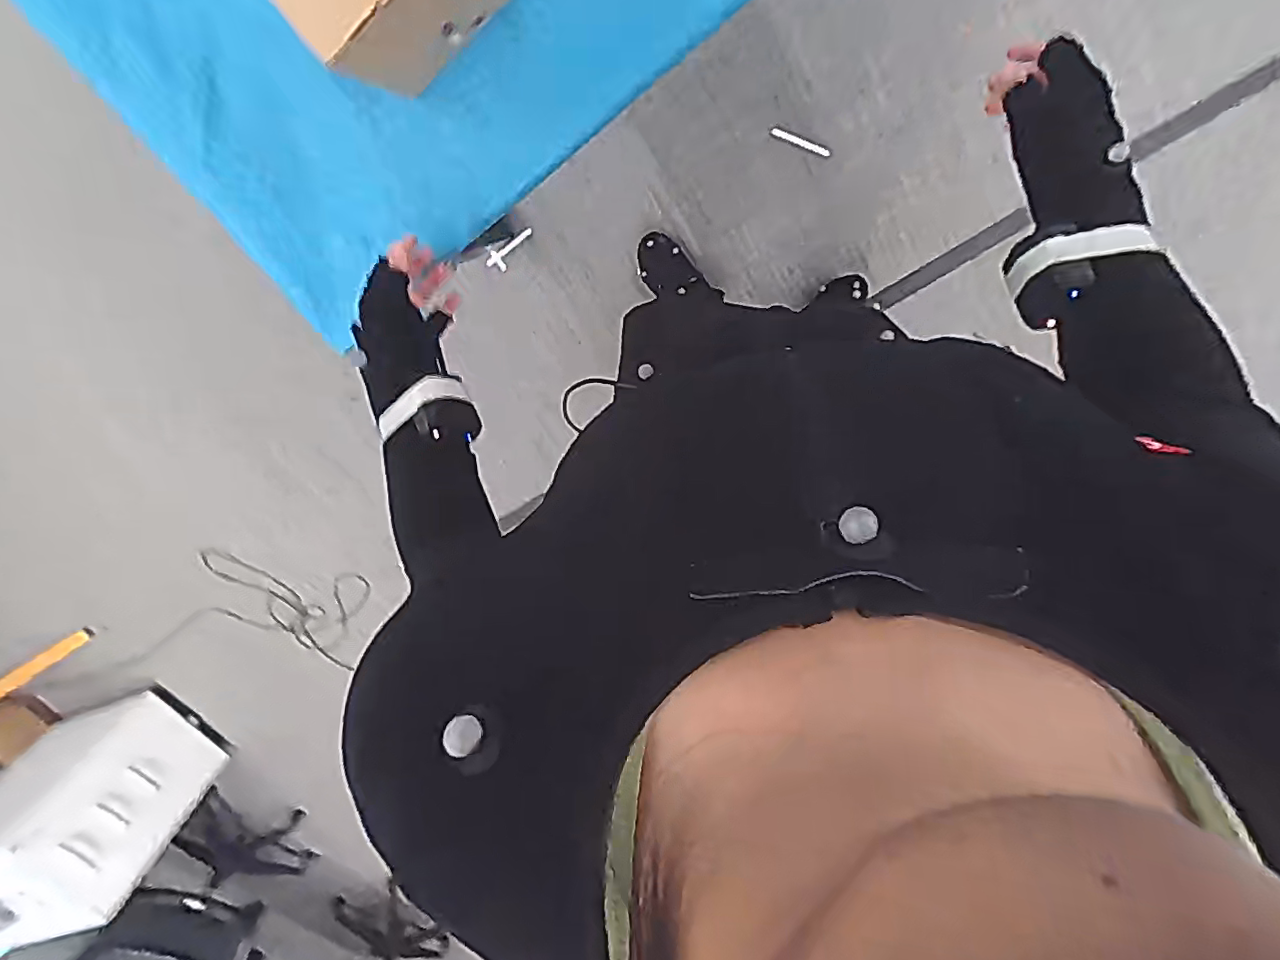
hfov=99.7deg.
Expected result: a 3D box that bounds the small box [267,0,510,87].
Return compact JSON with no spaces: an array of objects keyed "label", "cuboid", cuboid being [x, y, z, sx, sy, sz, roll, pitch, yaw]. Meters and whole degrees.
[{"label":"small box","cuboid":[-0.226,-0.461,0.435,0.168,0.176,0.179,-28,116,17]}]
